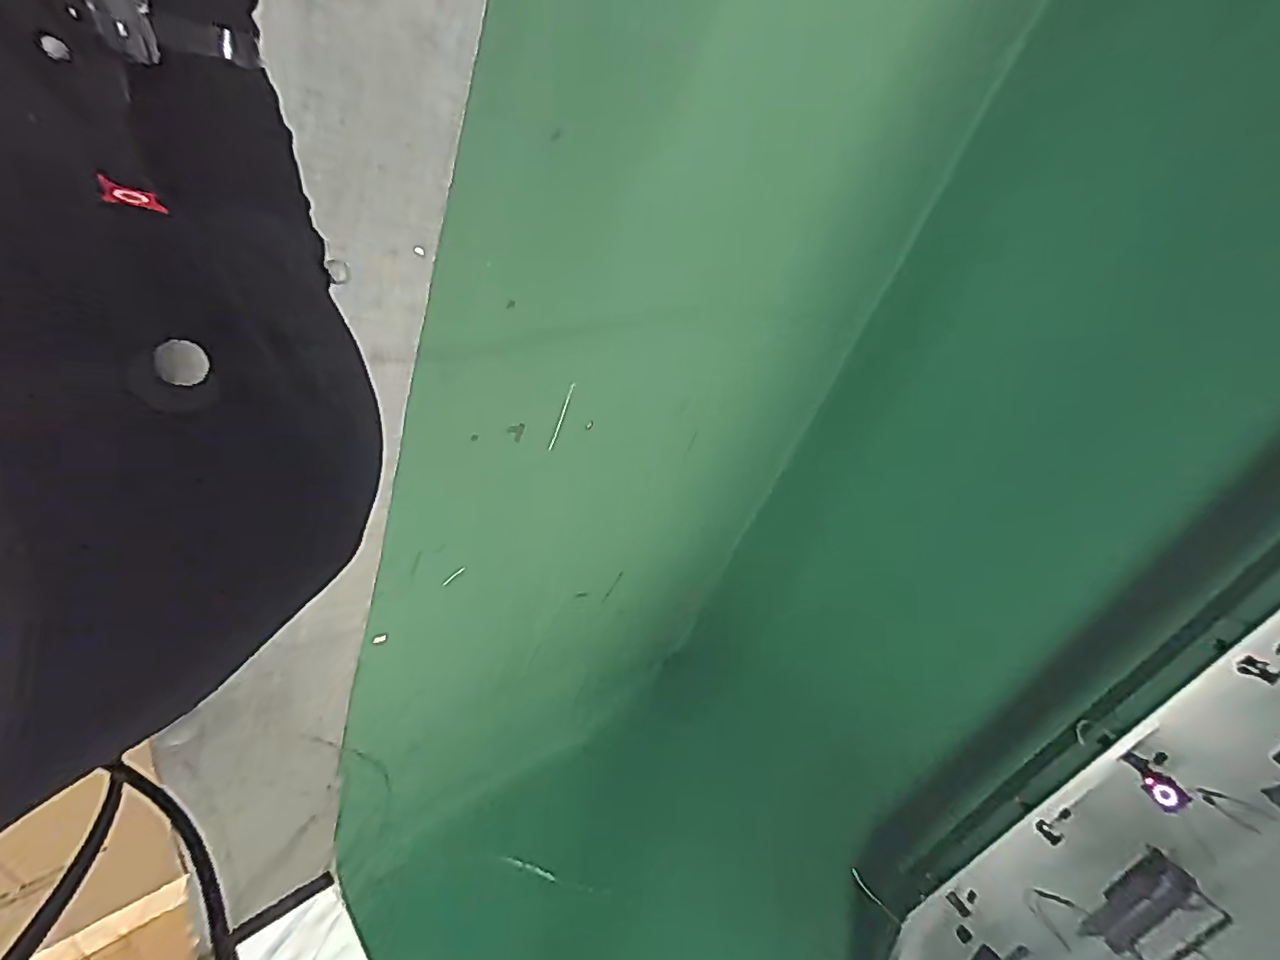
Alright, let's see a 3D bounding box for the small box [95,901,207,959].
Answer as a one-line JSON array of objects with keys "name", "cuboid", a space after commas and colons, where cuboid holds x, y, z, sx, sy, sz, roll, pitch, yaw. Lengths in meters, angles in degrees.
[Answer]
[{"name": "small box", "cuboid": [-1.112, 1.128, 1.231, 0.179, 0.176, 0.168, -16, 133, -48]}]
